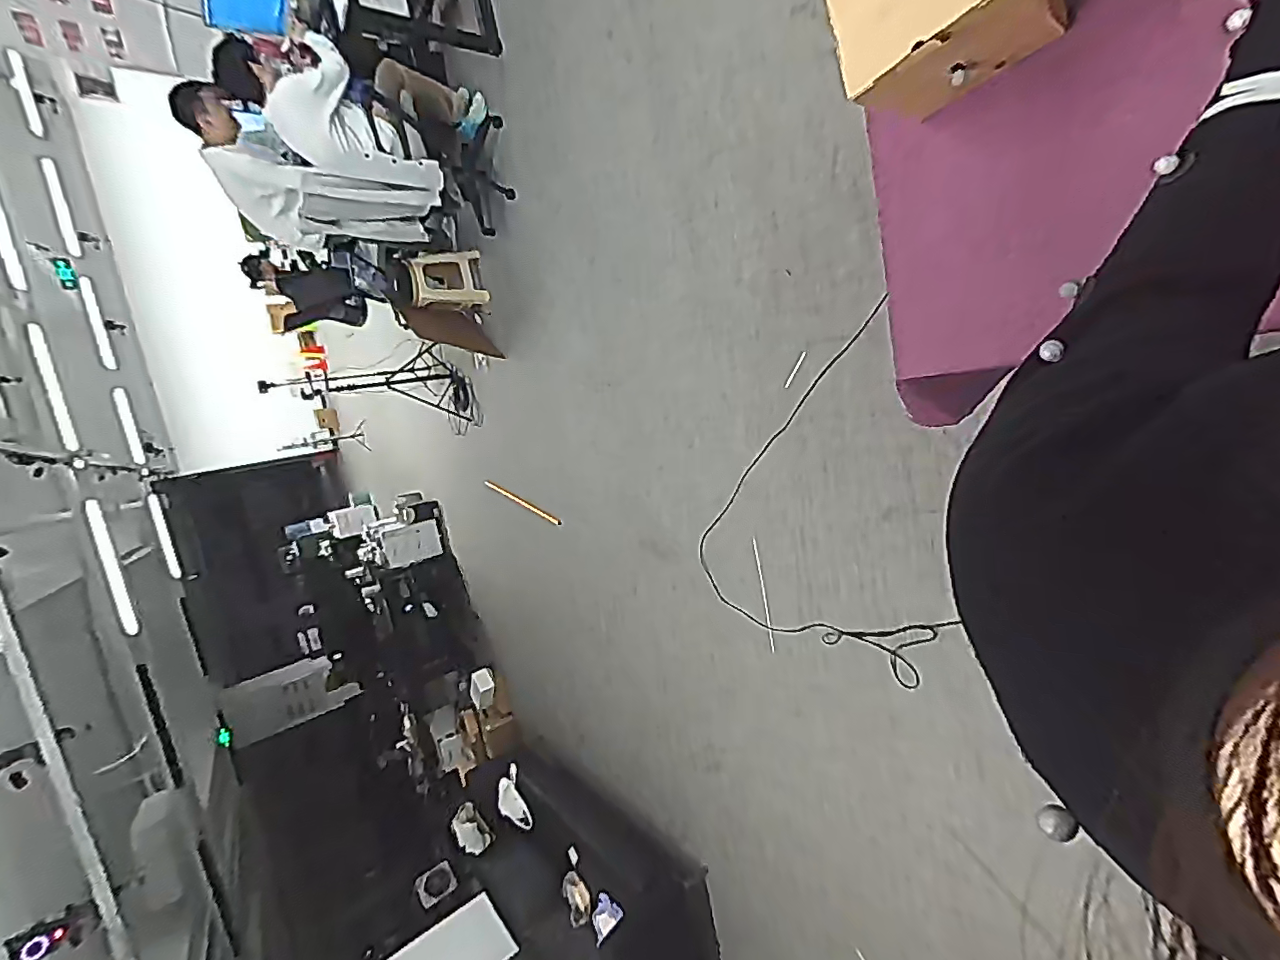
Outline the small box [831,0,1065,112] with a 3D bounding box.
[{"bbox_3d":[0.334,-0.540,0.595,0.168,0.176,0.179,-7,98,55],"label":"small box"}]
